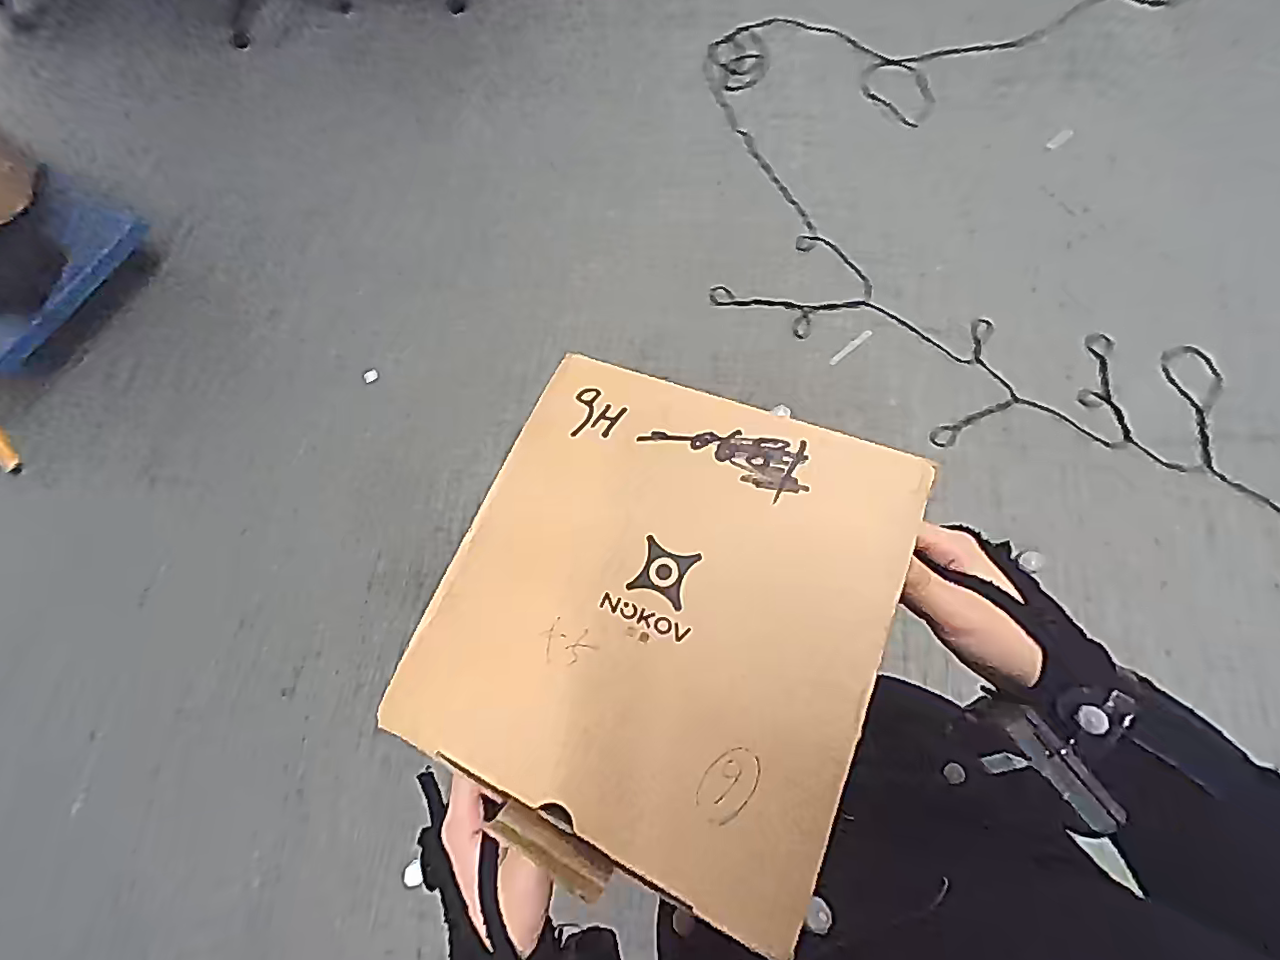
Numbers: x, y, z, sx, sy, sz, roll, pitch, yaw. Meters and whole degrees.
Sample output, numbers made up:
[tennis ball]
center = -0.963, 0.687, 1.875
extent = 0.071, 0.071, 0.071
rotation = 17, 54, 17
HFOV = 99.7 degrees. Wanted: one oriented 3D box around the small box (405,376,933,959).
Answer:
[small box]
center = 0.024, 0.079, 0.291
extent = 0.168, 0.176, 0.179
rotation = 21, 76, 17
